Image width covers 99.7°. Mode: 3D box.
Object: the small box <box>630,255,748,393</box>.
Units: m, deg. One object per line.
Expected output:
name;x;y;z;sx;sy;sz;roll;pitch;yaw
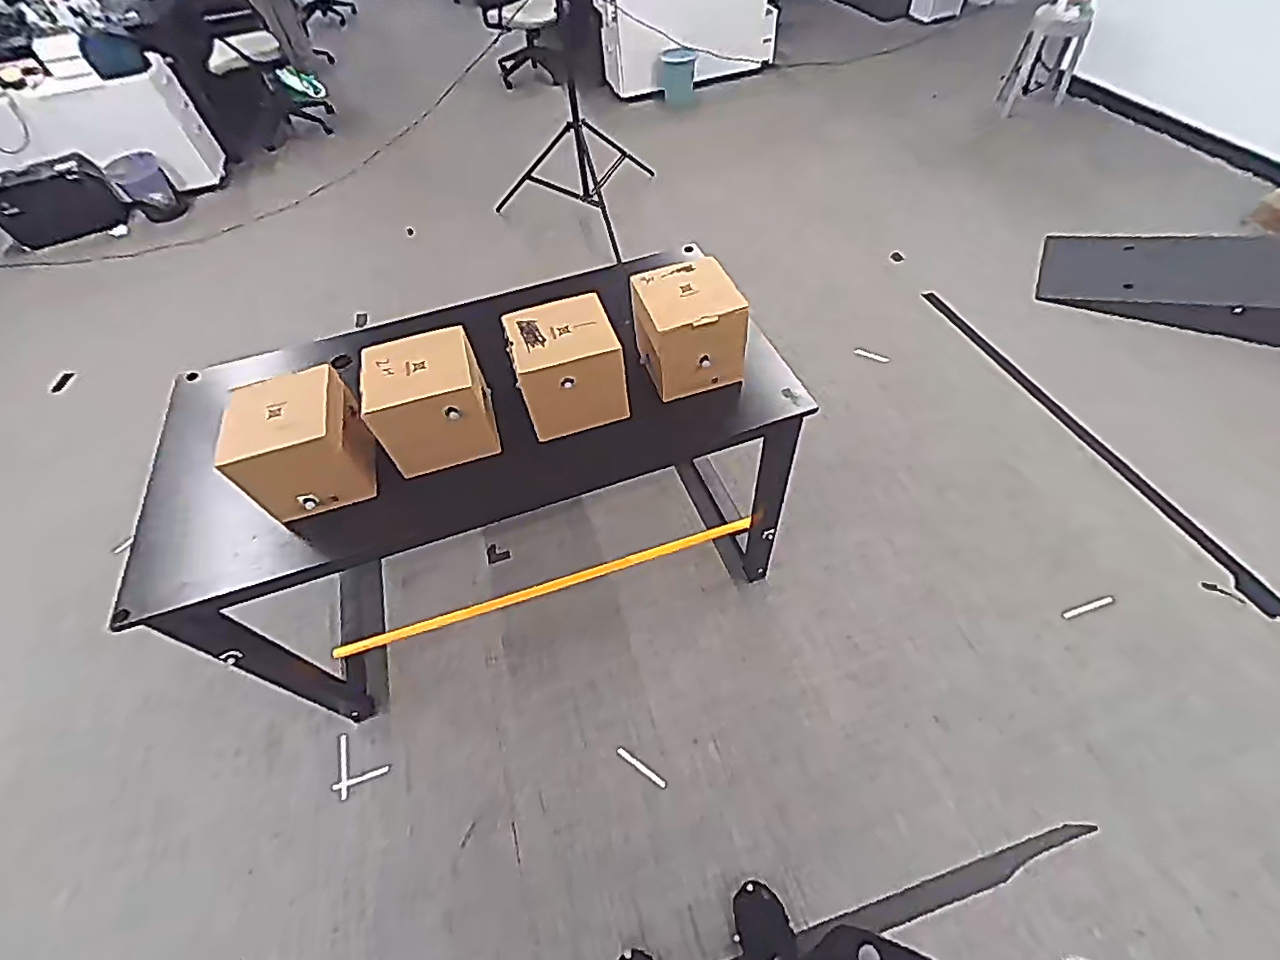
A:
small box;0.088;-0.282;1.008;0.168;0.176;0.179;-16;54;-7

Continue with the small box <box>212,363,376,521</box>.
small box;-0.566;-0.061;0.910;0.168;0.176;0.179;-18;55;-7

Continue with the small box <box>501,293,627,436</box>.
small box;-0.132;-0.202;0.972;0.179;0.176;0.168;-16;54;-8
